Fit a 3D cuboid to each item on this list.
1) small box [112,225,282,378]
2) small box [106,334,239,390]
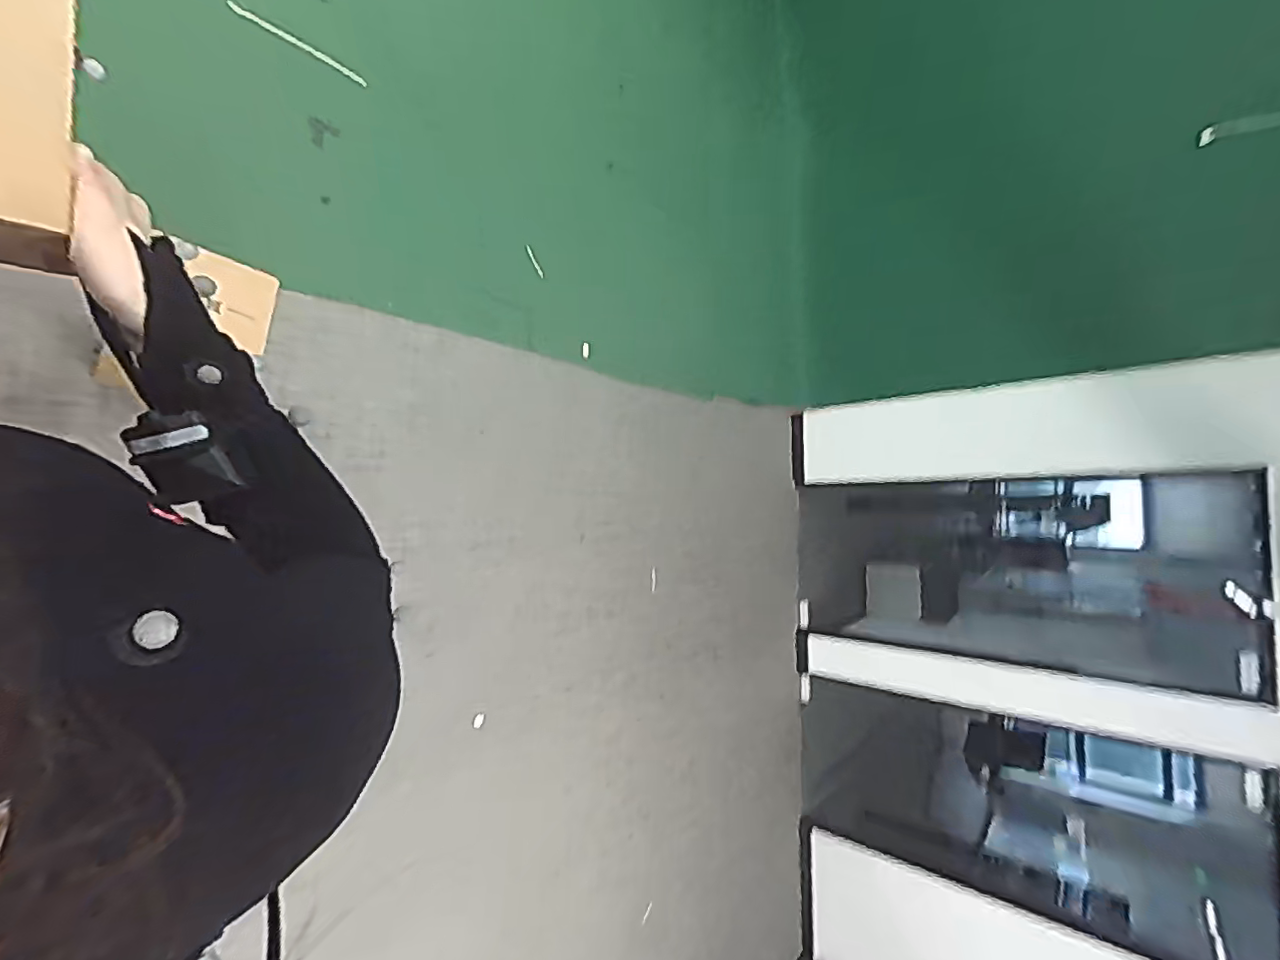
[{"bbox_3d":[-0.736,-0.280,0.897,0.179,0.176,0.168,17,77,-48],"label":"small box"},{"bbox_3d":[-0.855,-0.276,1.010,0.179,0.176,0.168,20,75,-47],"label":"small box"}]
